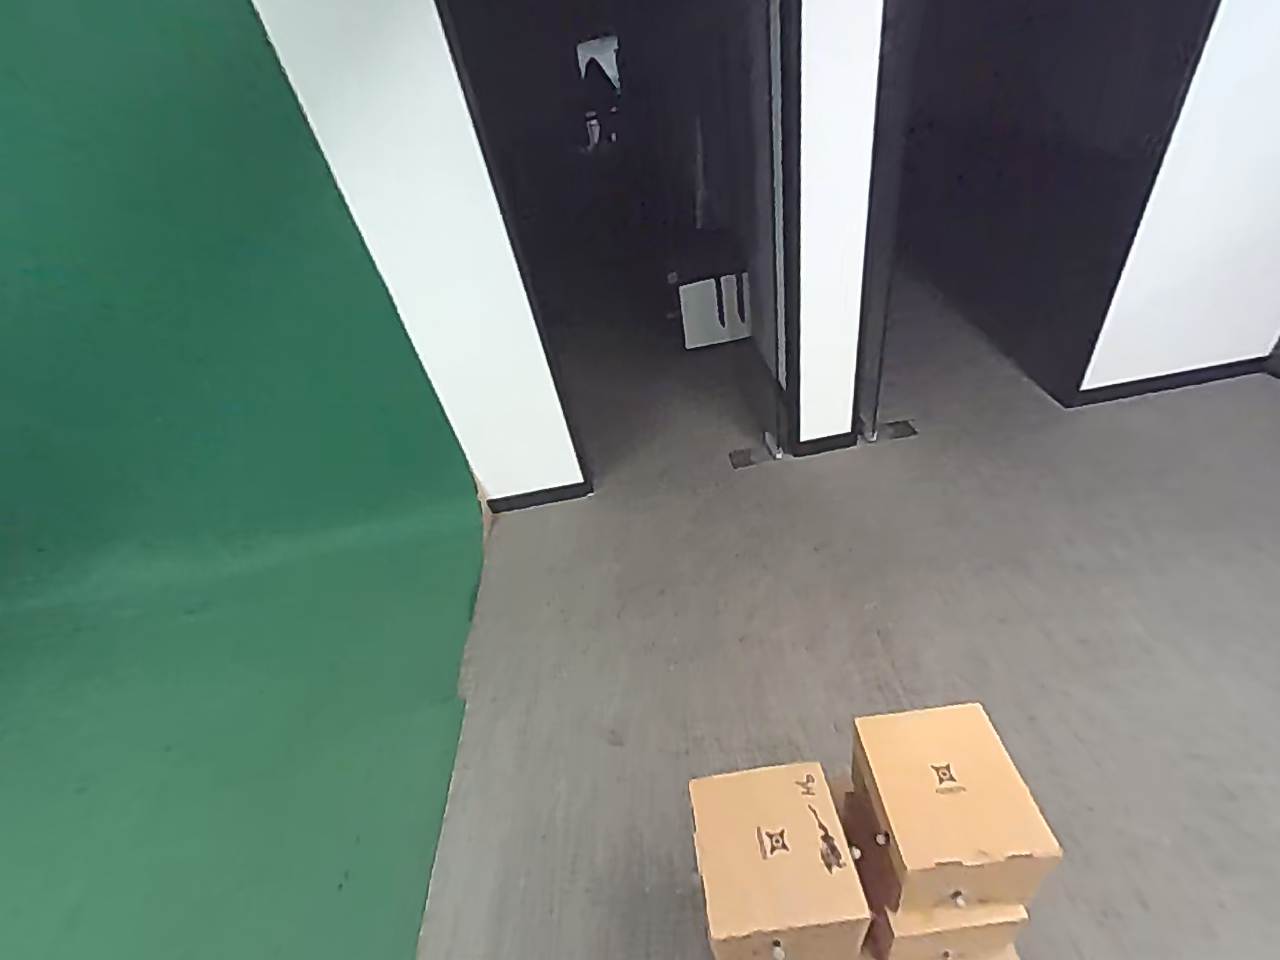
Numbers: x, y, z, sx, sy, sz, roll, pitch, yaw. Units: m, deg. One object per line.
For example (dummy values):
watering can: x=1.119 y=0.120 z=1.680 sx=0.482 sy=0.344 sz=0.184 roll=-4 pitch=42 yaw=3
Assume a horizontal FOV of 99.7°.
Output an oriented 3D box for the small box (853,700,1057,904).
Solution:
small box: x=0.390 y=0.421 z=0.711 sx=0.168 sy=0.176 sz=0.179 roll=-10 pitch=37 yaw=6
